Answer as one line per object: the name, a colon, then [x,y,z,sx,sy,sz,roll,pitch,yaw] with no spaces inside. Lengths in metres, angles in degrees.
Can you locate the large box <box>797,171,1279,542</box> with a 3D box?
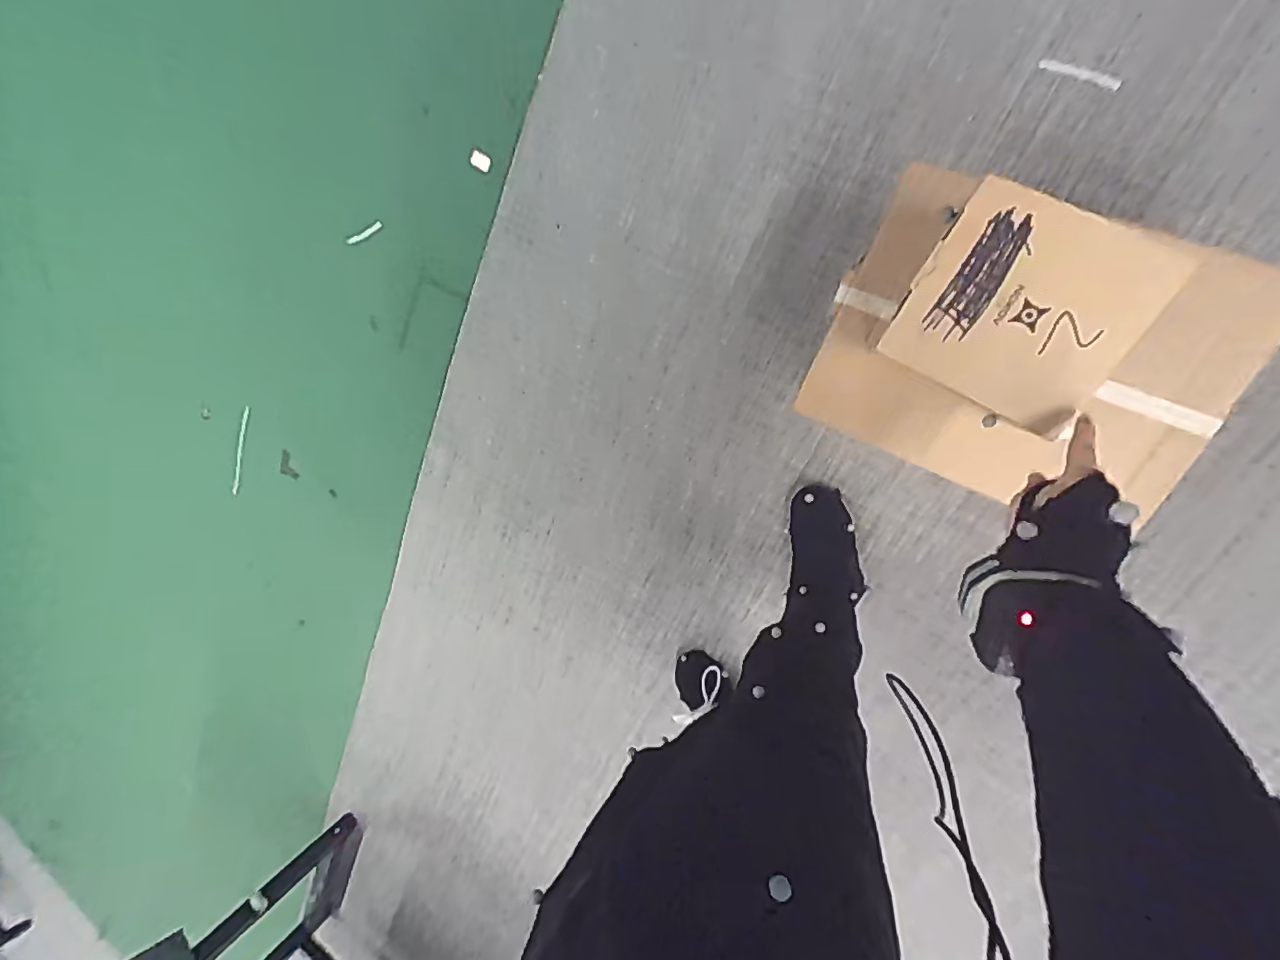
large box: [0.481,-0.172,0.757,0.408,0.320,0.320,26,111,15]
